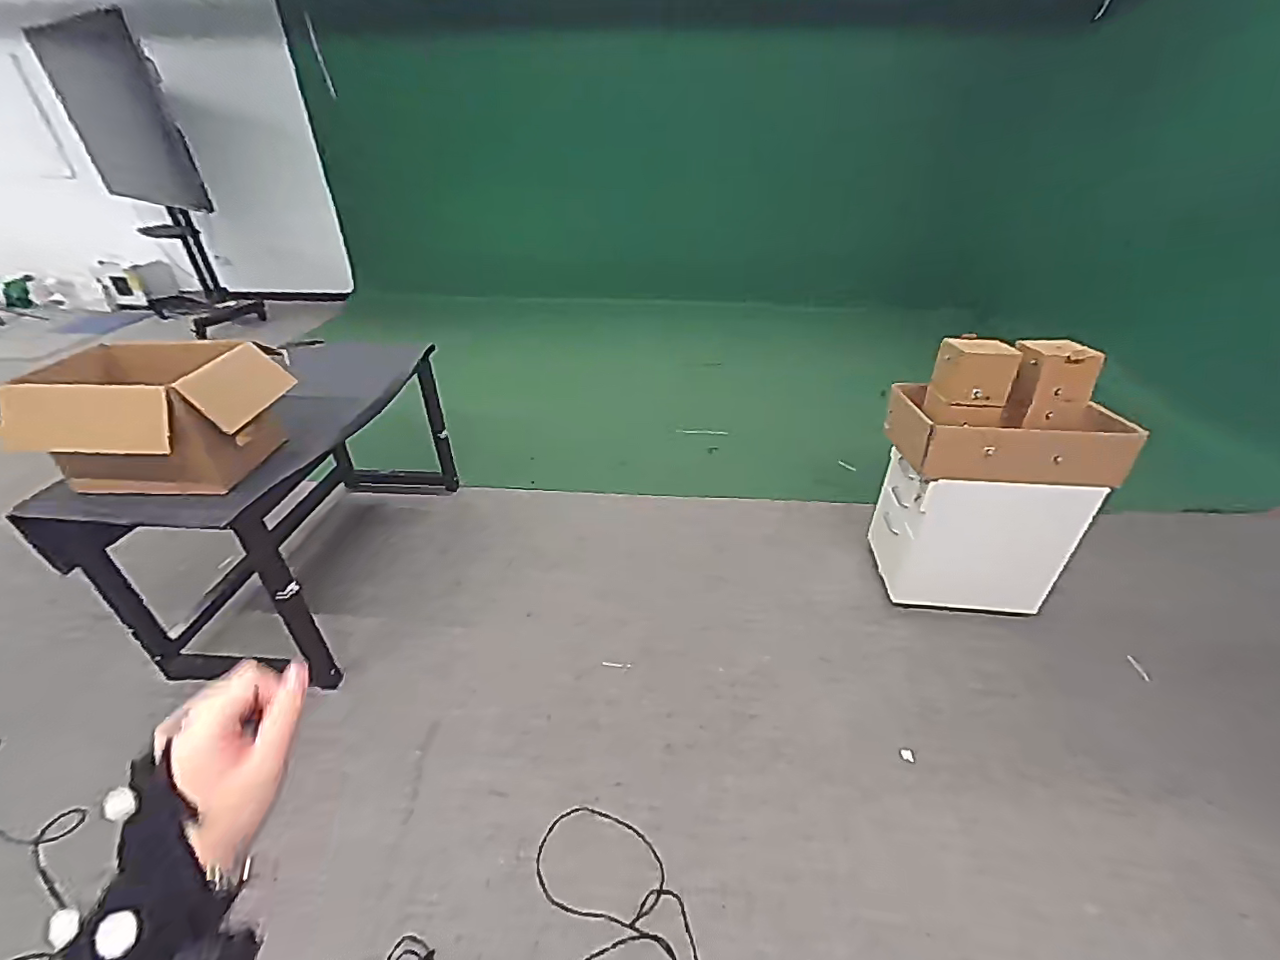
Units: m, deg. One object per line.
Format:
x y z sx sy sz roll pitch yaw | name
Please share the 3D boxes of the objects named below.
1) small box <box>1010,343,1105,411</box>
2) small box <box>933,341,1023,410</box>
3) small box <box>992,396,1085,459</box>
1.291 -0.326 1.701 0.168 0.176 0.179 1 29 4 | small box
1.057 -0.333 1.711 0.168 0.176 0.179 2 29 4 | small box
1.297 -0.180 1.775 0.168 0.176 0.179 0 27 6 | small box
